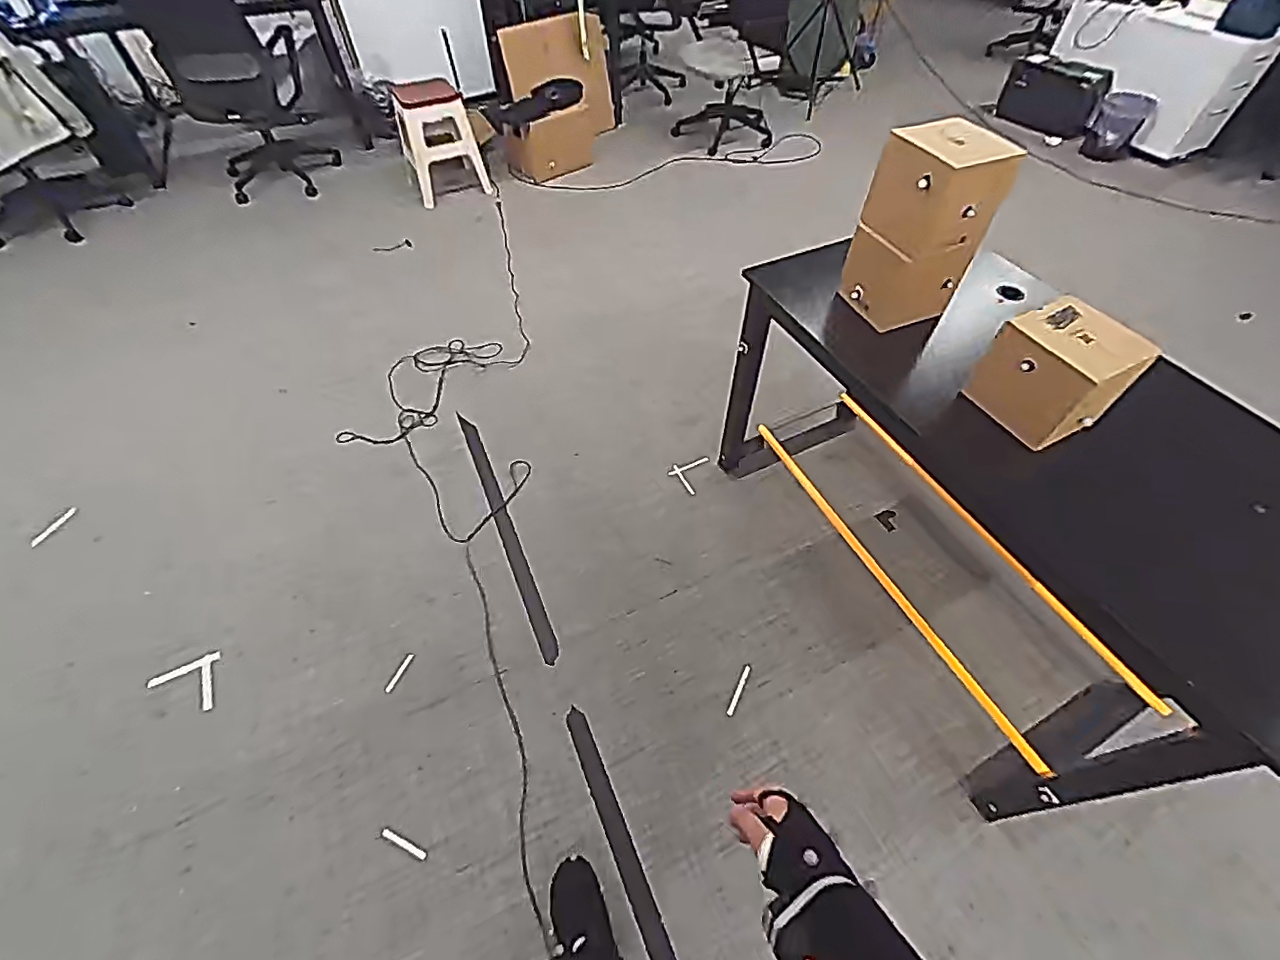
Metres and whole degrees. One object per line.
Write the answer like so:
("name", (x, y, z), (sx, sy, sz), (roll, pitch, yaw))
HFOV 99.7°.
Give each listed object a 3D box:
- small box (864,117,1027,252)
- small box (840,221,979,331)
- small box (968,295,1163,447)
("small box", (0.564, -0.551, 1.023), (0.168, 0.176, 0.179), (-19, 54, -14))
("small box", (0.560, -0.446, 1.151), (0.179, 0.176, 0.168), (-20, 54, -13))
("small box", (0.732, -0.190, 0.956), (0.168, 0.176, 0.179), (-23, 57, -16))
